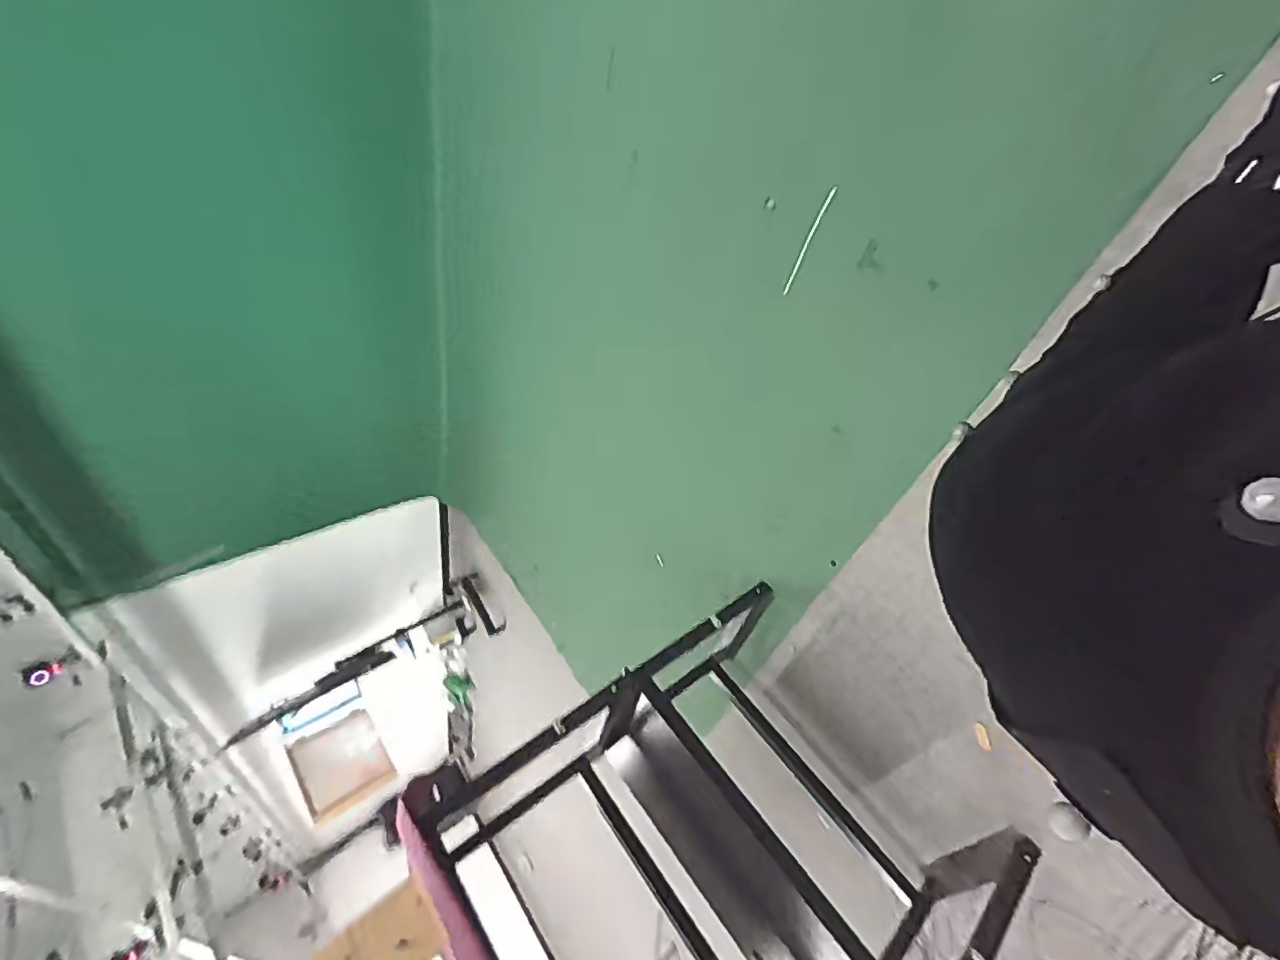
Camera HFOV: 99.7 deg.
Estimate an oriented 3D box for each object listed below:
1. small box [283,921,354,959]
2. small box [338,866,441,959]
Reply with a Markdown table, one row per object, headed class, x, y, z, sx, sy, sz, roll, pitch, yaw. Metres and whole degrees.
| class | x | y | z | sx | sy | sz | roll | pitch | yaw |
| --- | --- | --- | --- | --- | --- | --- | --- | --- | --- |
| small box | -0.707 | 1.114 | 1.184 | 0.168 | 0.176 | 0.179 | 46 | 139 | 26 |
| small box | -0.586 | 1.060 | 1.280 | 0.168 | 0.176 | 0.179 | 46 | 139 | 26 |
